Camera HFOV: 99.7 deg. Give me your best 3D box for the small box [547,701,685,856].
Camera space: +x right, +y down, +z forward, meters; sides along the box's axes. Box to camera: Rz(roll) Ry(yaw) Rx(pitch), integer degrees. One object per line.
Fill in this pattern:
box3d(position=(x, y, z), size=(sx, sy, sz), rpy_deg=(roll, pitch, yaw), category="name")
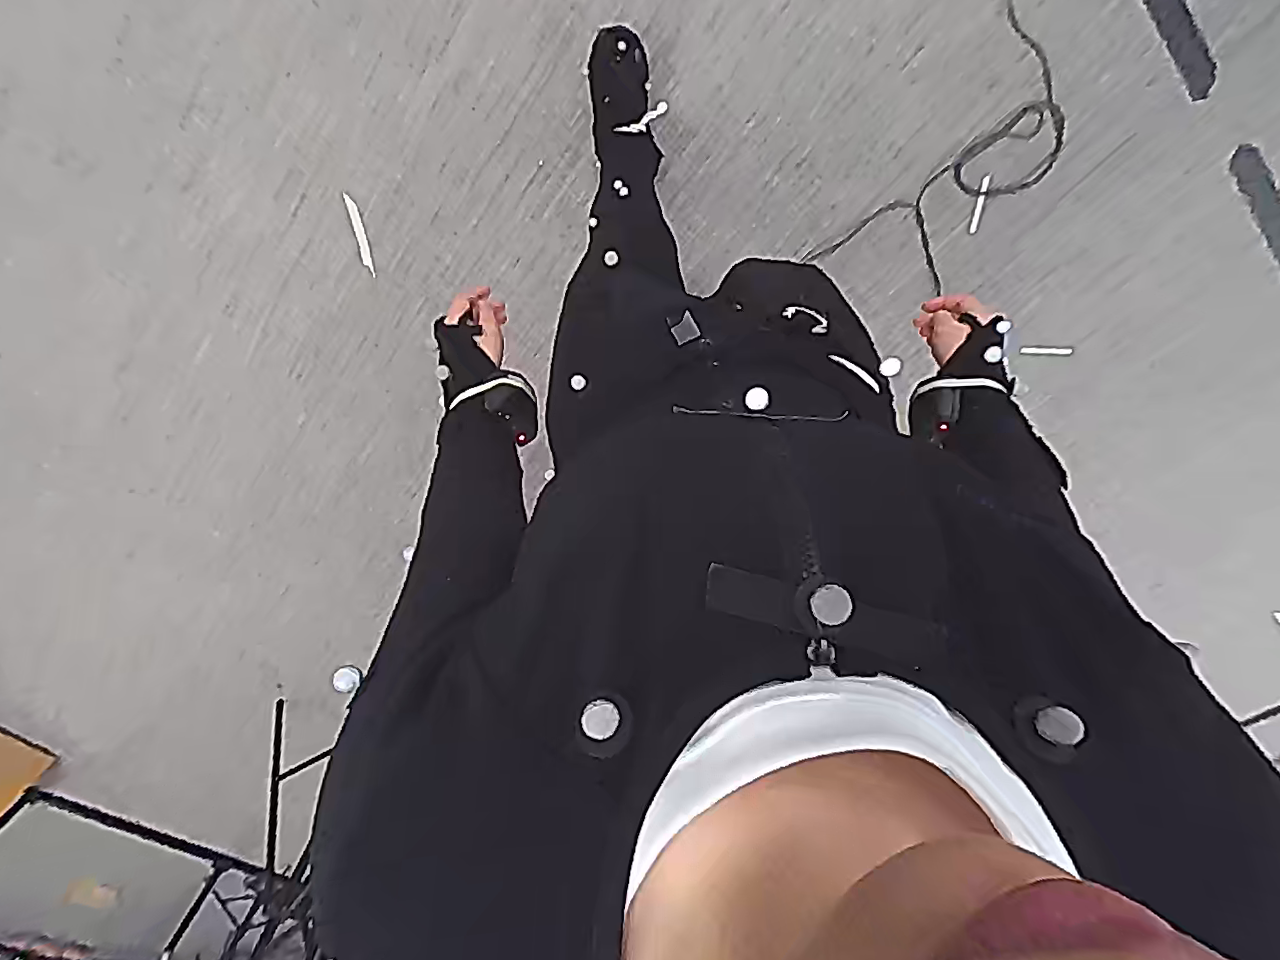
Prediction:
box3d(position=(-0.041, 0.531, 0.979), size=(0.179, 0.176, 0.168), rpy_deg=(39, 114, -21), category="small box")
